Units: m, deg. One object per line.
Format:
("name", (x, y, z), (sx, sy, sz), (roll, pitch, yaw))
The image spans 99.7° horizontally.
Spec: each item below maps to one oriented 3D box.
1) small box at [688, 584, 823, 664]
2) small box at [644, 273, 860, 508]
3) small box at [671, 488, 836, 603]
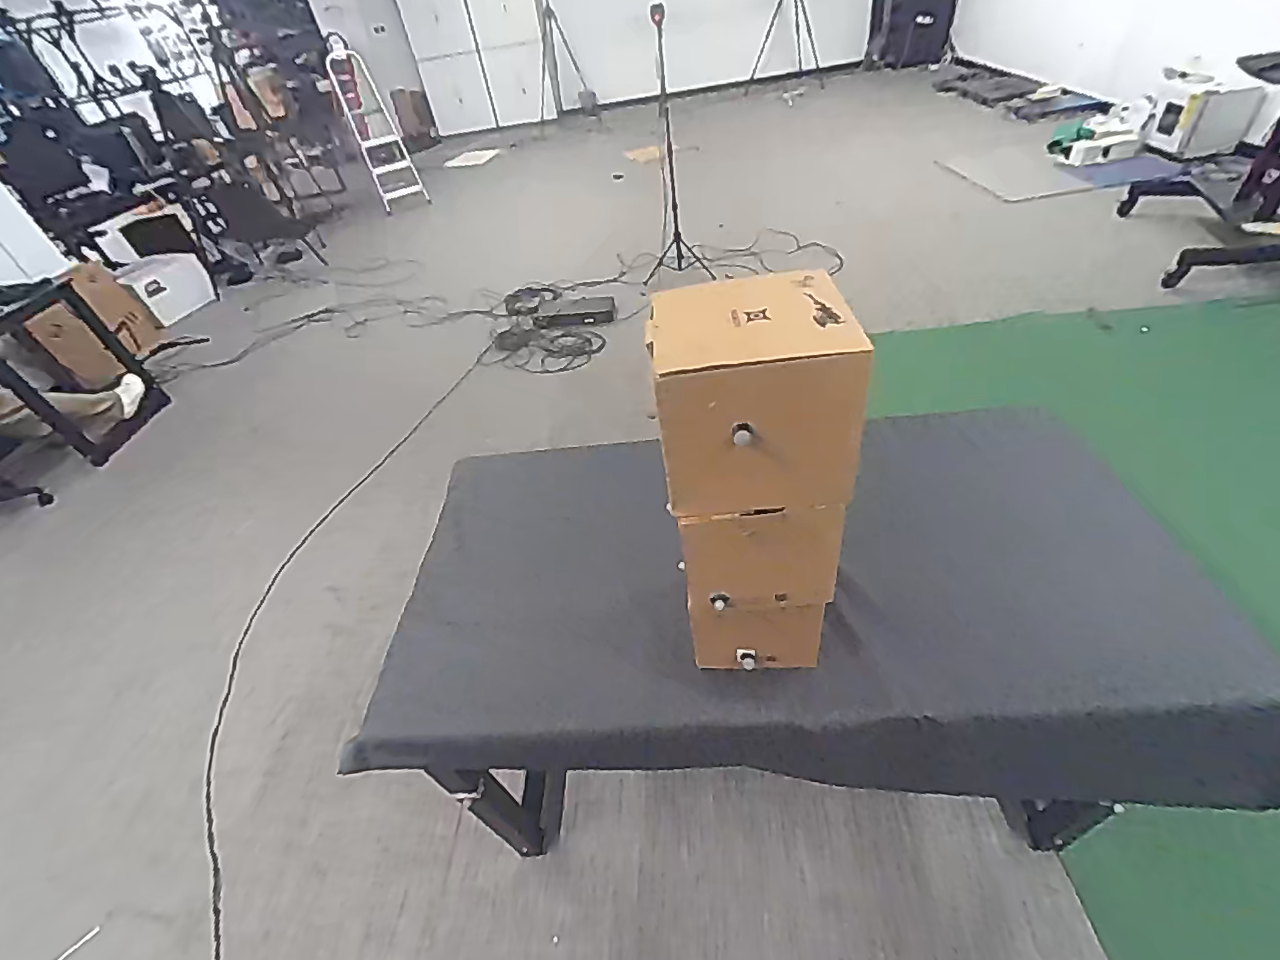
("small box", (0.156, 0.142, 0.775), (0.168, 0.176, 0.179), (-6, 44, 8))
("small box", (0.105, -0.087, 0.551), (0.179, 0.176, 0.168), (-8, 40, 4))
("small box", (0.126, 0.032, 0.657), (0.168, 0.176, 0.179), (-10, 43, 3))
